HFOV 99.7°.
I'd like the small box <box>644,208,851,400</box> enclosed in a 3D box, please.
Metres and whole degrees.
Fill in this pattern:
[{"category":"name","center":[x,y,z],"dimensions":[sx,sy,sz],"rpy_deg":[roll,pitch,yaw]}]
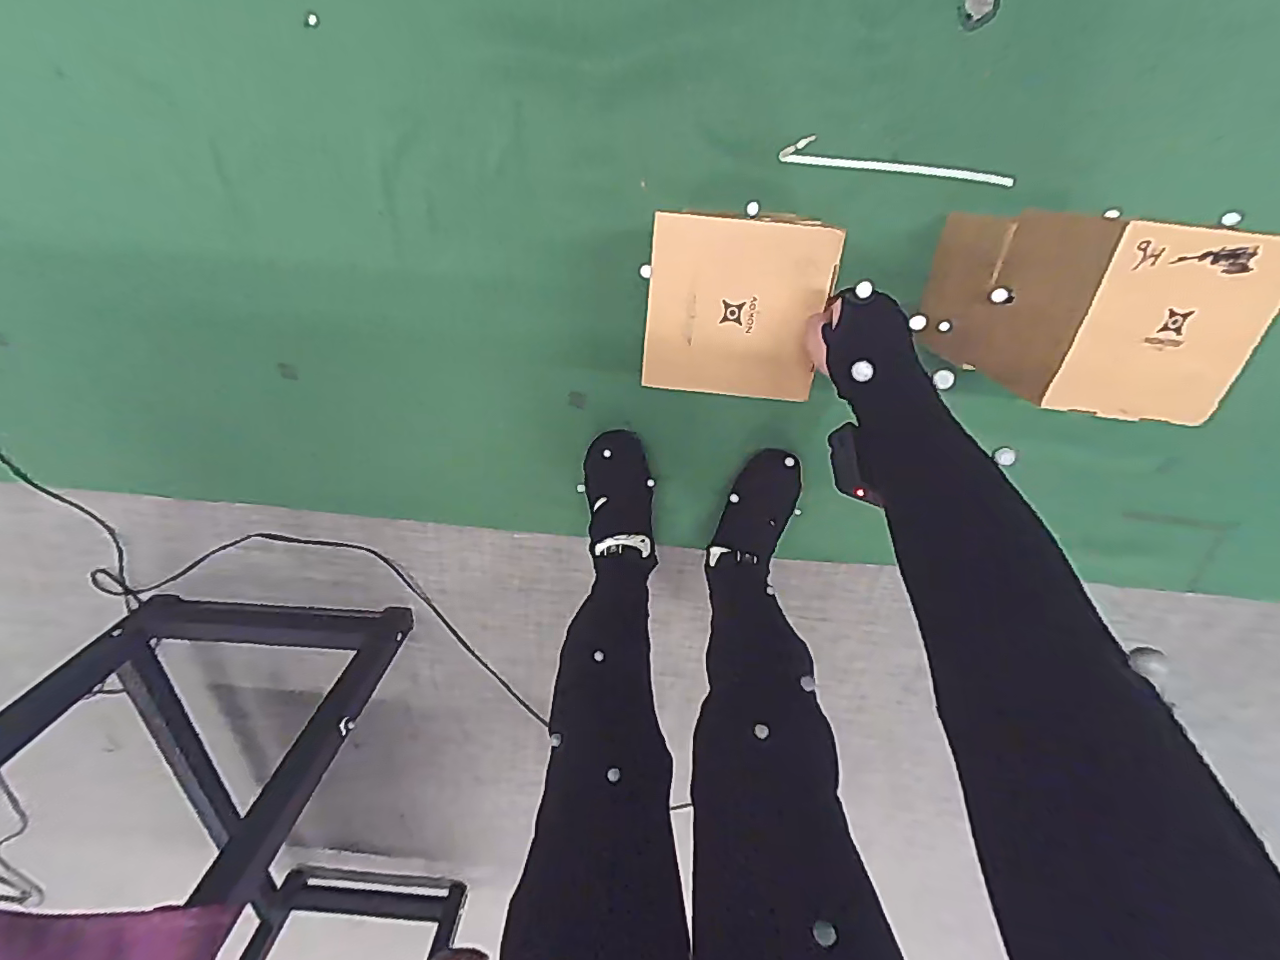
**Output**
[{"category":"small box","center":[0.101,-0.198,0.591],"dimensions":[0.179,0.176,0.168],"rpy_deg":[6,117,1]}]

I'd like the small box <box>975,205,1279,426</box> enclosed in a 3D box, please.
[{"category":"small box","center":[0.493,-0.178,0.569],"dimensions":[0.168,0.176,0.179],"rpy_deg":[7,120,-1]}]
